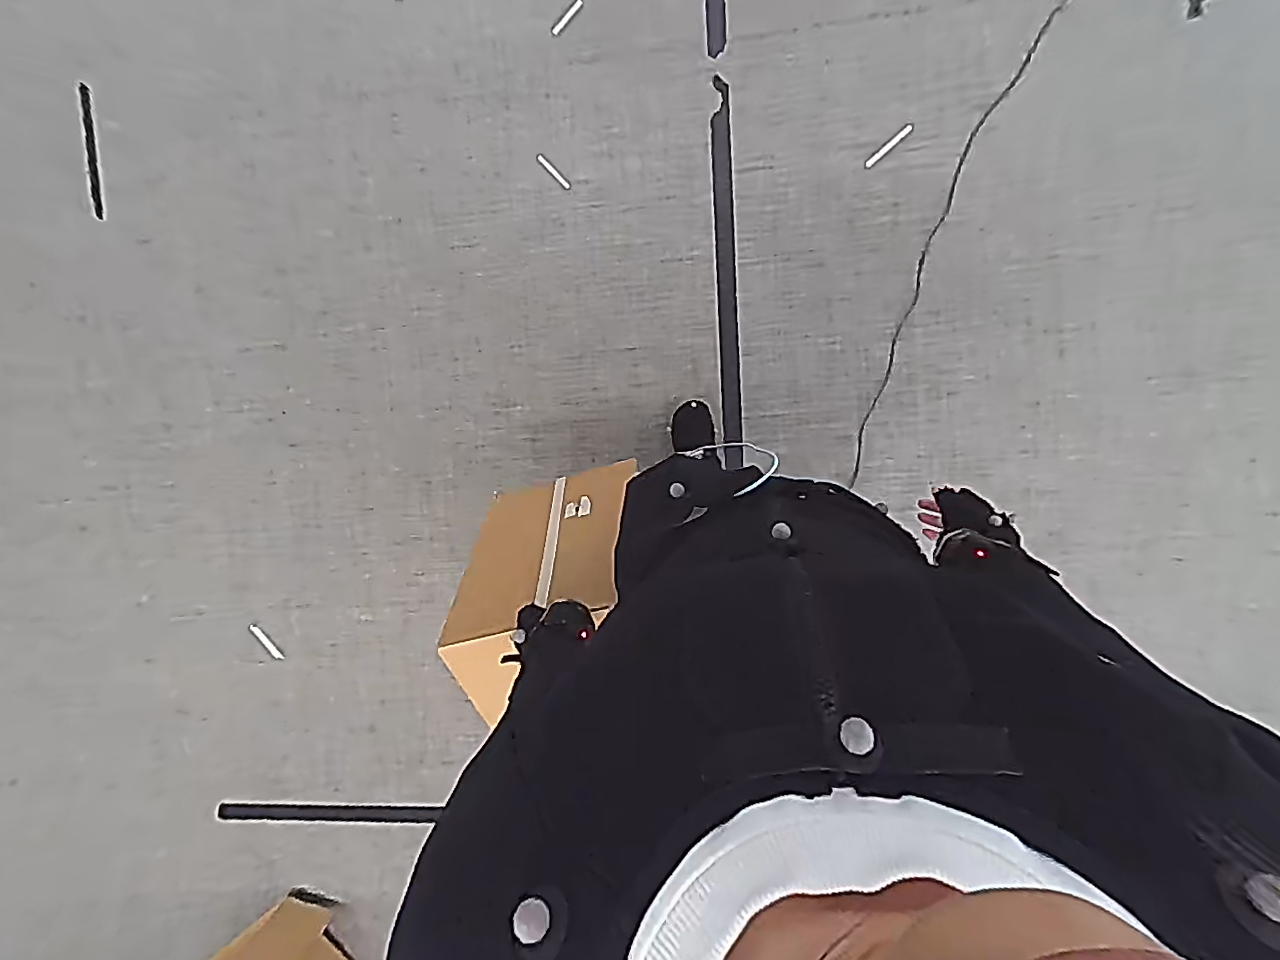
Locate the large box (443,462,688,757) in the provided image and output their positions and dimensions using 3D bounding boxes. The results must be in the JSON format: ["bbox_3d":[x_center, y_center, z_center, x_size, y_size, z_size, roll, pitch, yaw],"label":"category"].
[{"bbox_3d":[-0.111,0.224,1.016,0.320,0.408,0.320,-14,119,7],"label":"large box"}]
